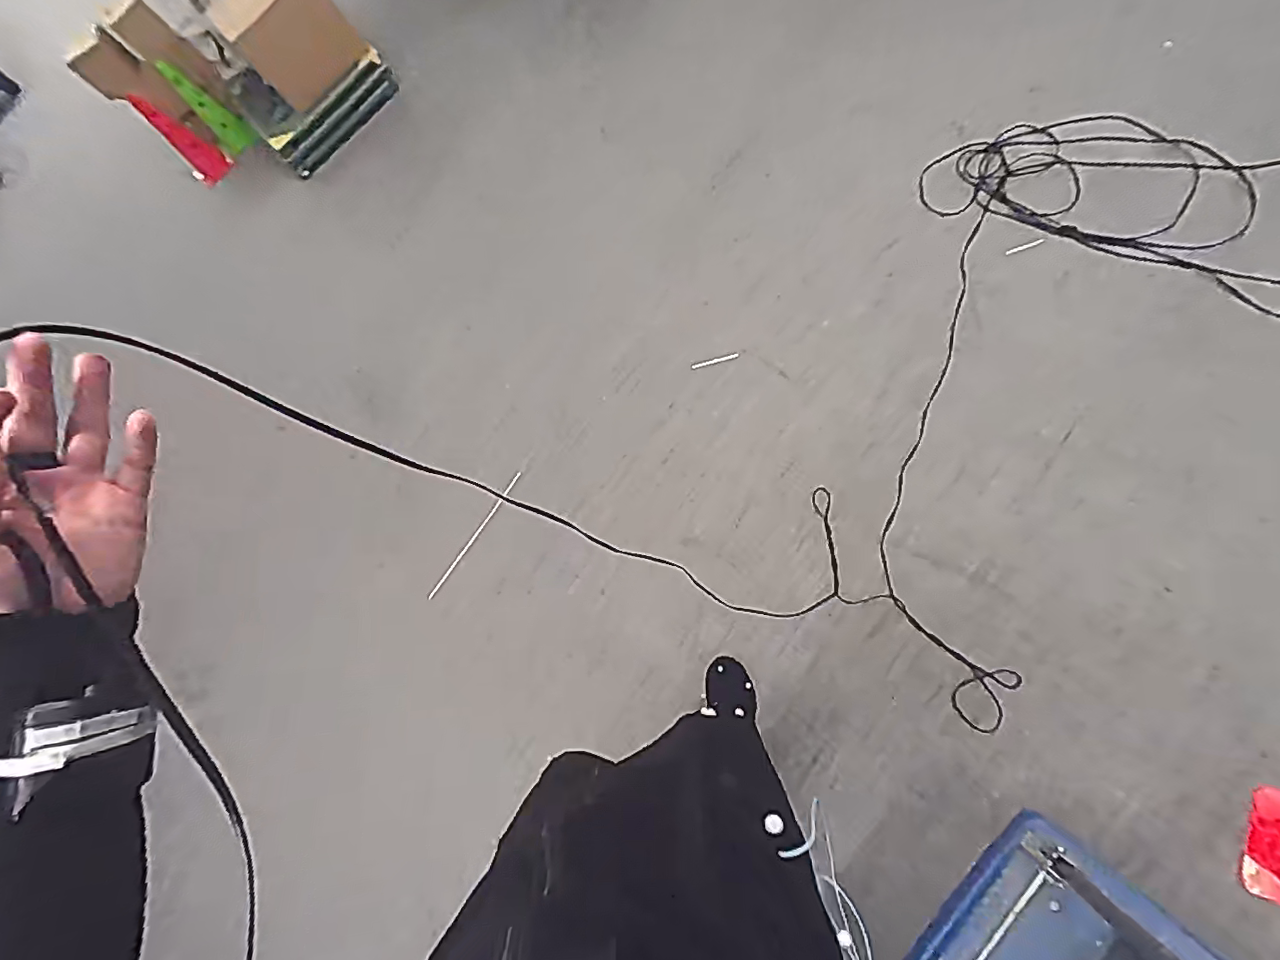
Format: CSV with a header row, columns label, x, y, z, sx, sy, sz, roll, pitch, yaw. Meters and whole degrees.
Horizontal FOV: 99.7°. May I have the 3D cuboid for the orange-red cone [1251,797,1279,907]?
label,x,y,z,sx,sy,sz,roll,pitch,yaw
orange-red cone,1.238,0.682,0.854,0.198,0.360,0.199,19,79,19
